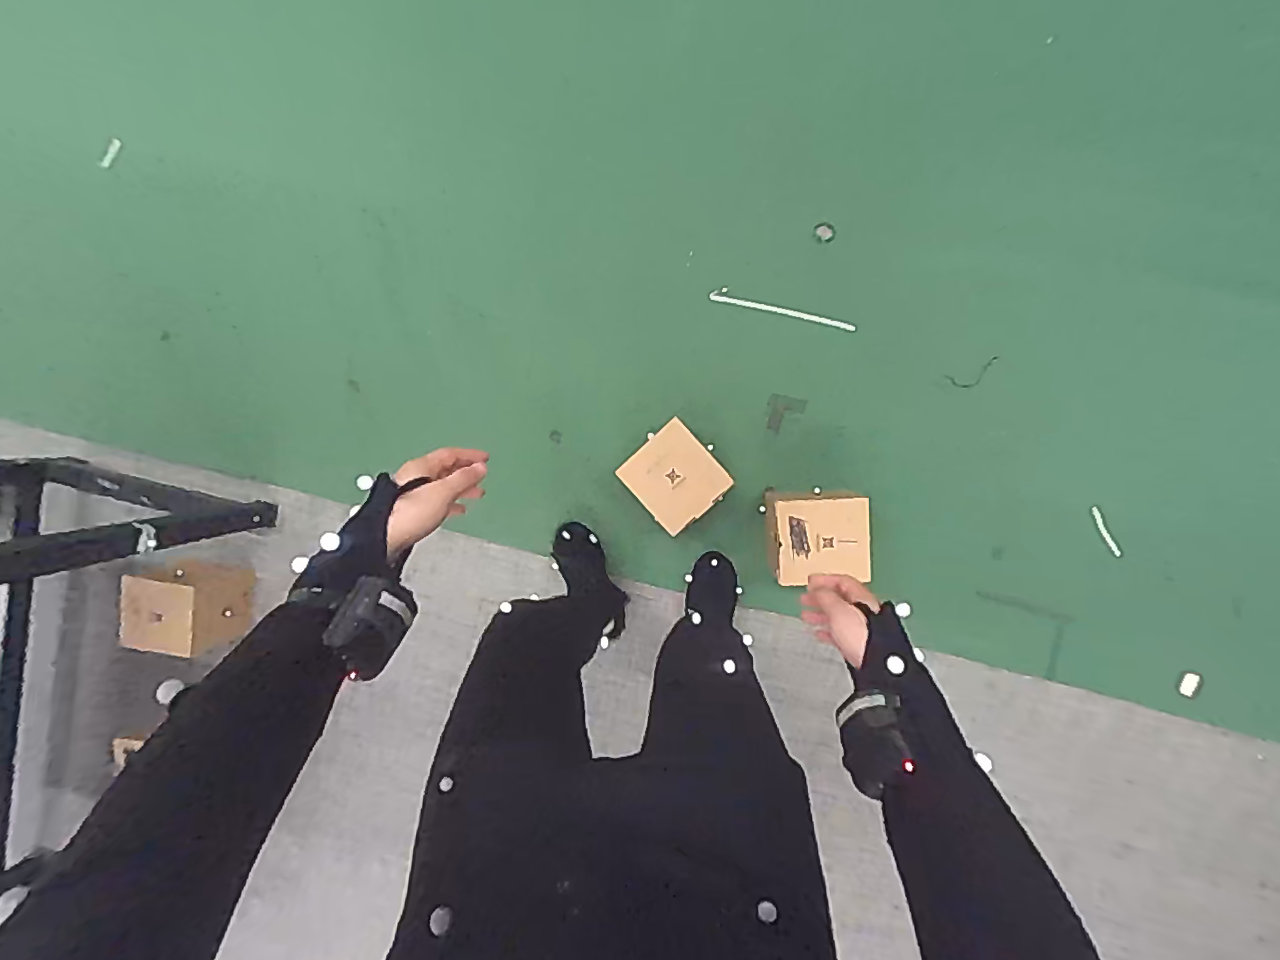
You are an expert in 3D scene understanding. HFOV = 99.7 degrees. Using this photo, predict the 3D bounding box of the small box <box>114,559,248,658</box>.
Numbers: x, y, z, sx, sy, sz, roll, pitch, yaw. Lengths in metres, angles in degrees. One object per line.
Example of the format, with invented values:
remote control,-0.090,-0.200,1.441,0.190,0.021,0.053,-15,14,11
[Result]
small box,-1.058,0.291,1.259,0.179,0.176,0.168,8,95,5

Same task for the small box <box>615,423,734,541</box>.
small box,0.074,-0.002,1.125,0.168,0.176,0.179,-42,89,7

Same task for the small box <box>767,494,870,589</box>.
small box,0.356,0.121,1.108,0.179,0.176,0.168,-3,95,5
